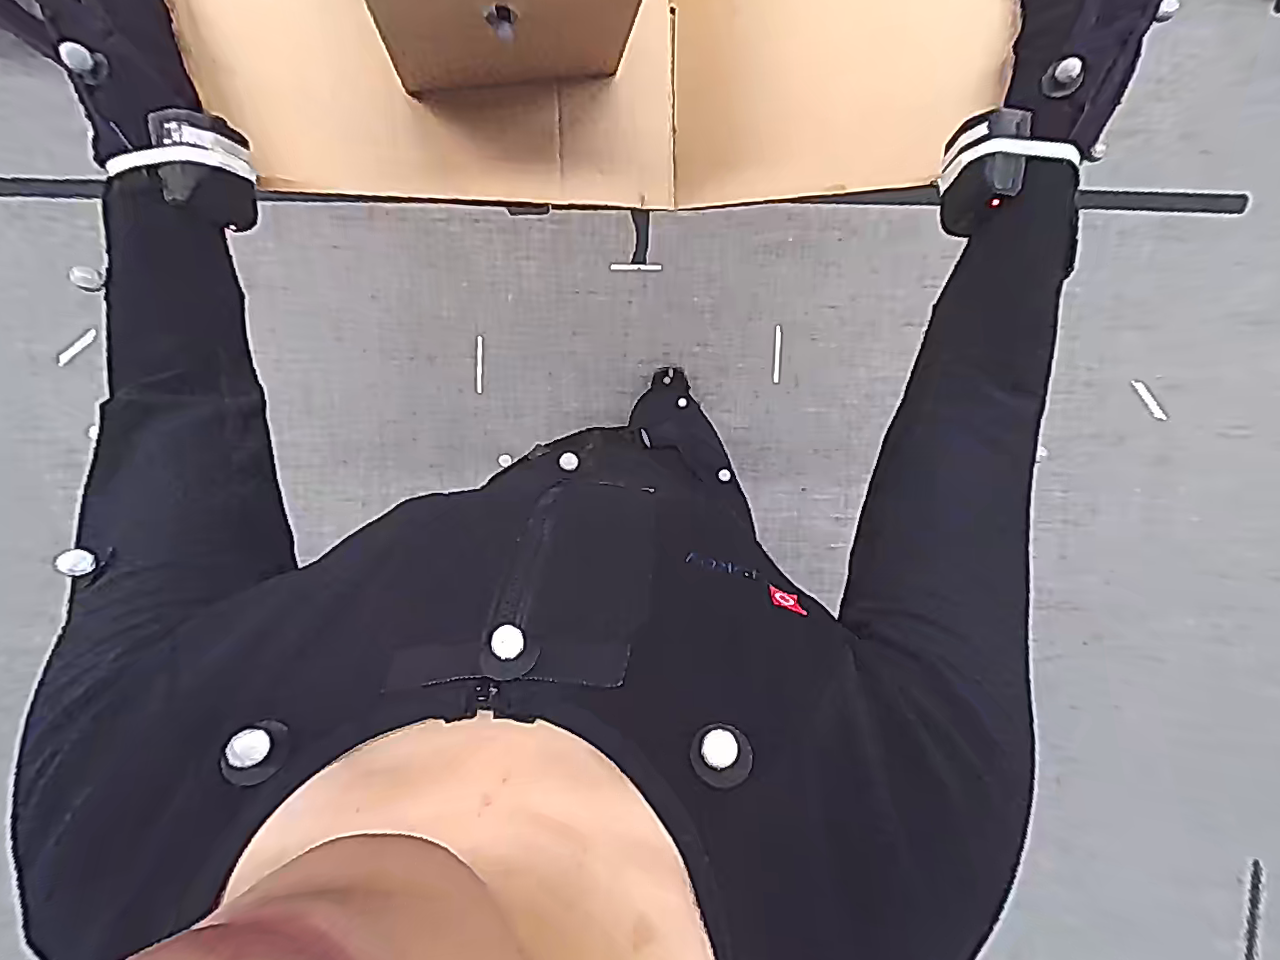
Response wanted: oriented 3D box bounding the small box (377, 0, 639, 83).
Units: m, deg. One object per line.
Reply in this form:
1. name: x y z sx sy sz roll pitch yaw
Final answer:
1. small box: -0.094 -0.390 0.348 0.179 0.176 0.168 -12 105 -9
